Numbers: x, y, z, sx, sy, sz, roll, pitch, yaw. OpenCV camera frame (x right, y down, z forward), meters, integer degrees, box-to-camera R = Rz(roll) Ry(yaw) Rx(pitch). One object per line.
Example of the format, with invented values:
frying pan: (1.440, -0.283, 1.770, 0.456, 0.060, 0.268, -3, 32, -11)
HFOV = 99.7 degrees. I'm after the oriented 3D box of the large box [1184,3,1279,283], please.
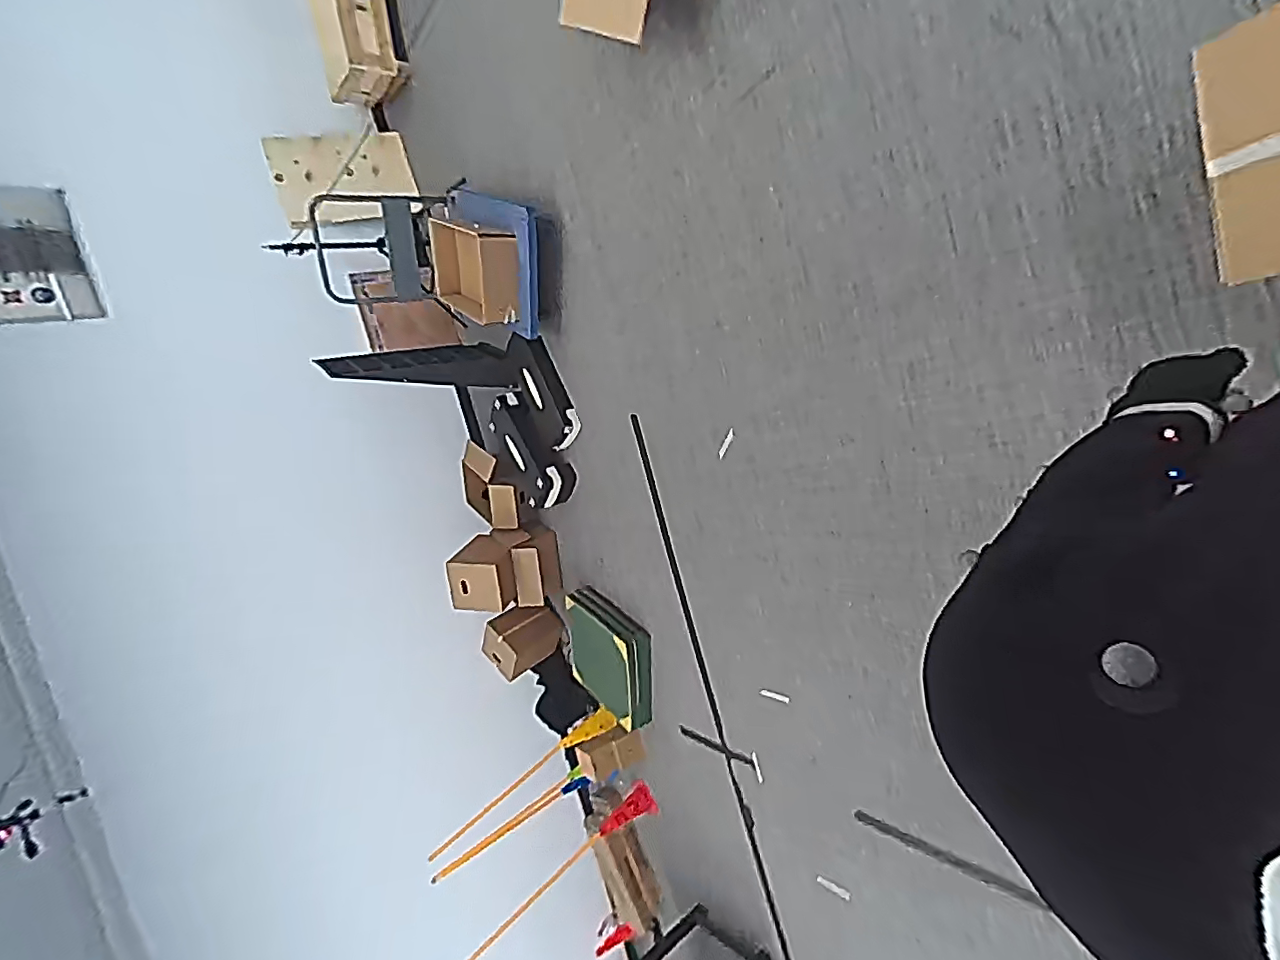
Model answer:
large box: (0.979, -0.466, 0.645, 0.408, 0.320, 0.320, -6, 101, 55)
